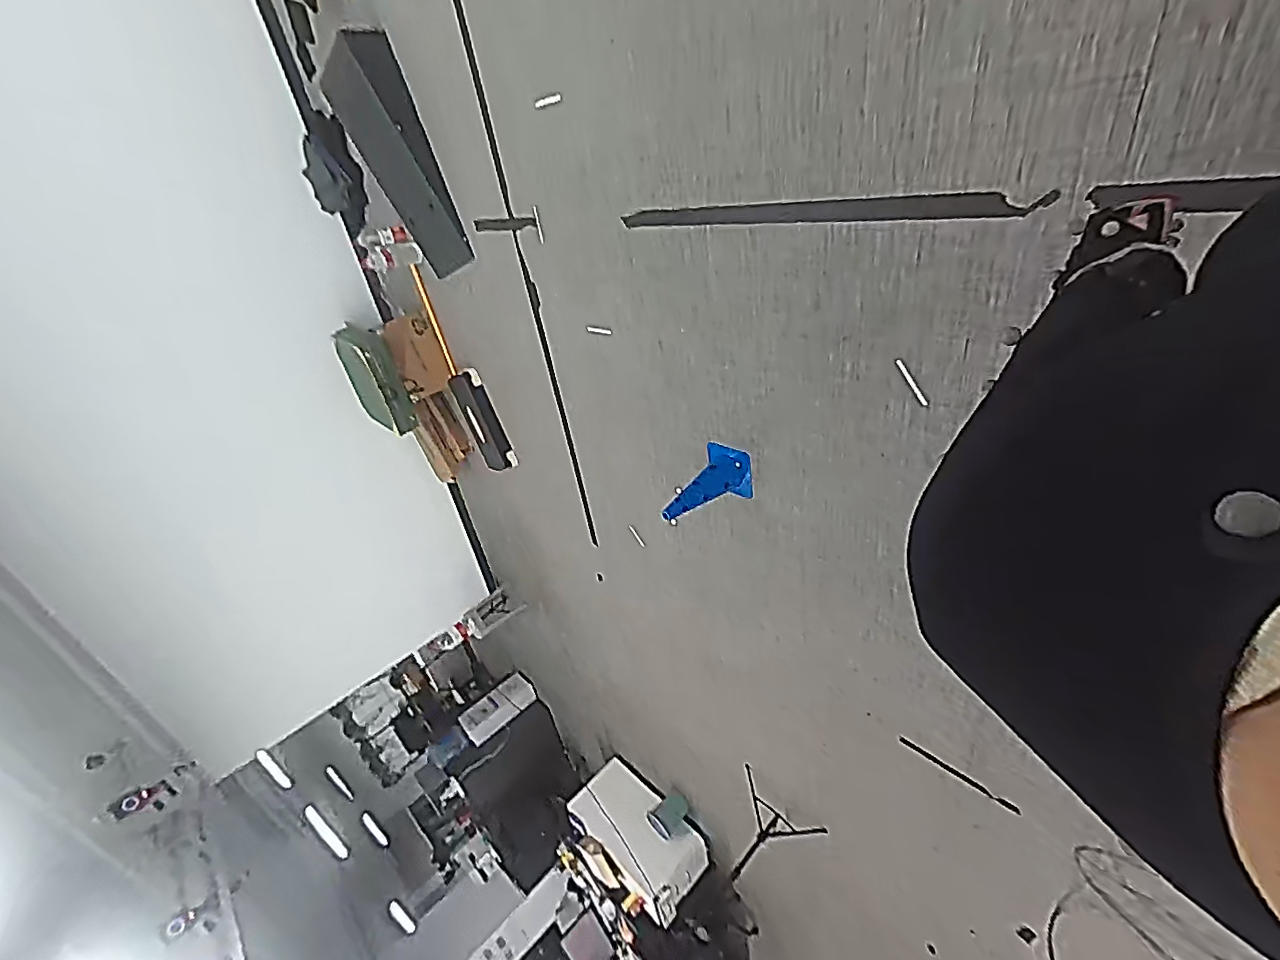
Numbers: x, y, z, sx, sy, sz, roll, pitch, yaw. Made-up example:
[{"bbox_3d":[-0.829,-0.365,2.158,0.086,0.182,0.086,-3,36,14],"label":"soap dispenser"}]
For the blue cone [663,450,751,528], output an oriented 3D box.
[{"bbox_3d":[0.221,0.056,1.962,0.193,0.380,0.192,23,135,42],"label":"blue cone"}]
